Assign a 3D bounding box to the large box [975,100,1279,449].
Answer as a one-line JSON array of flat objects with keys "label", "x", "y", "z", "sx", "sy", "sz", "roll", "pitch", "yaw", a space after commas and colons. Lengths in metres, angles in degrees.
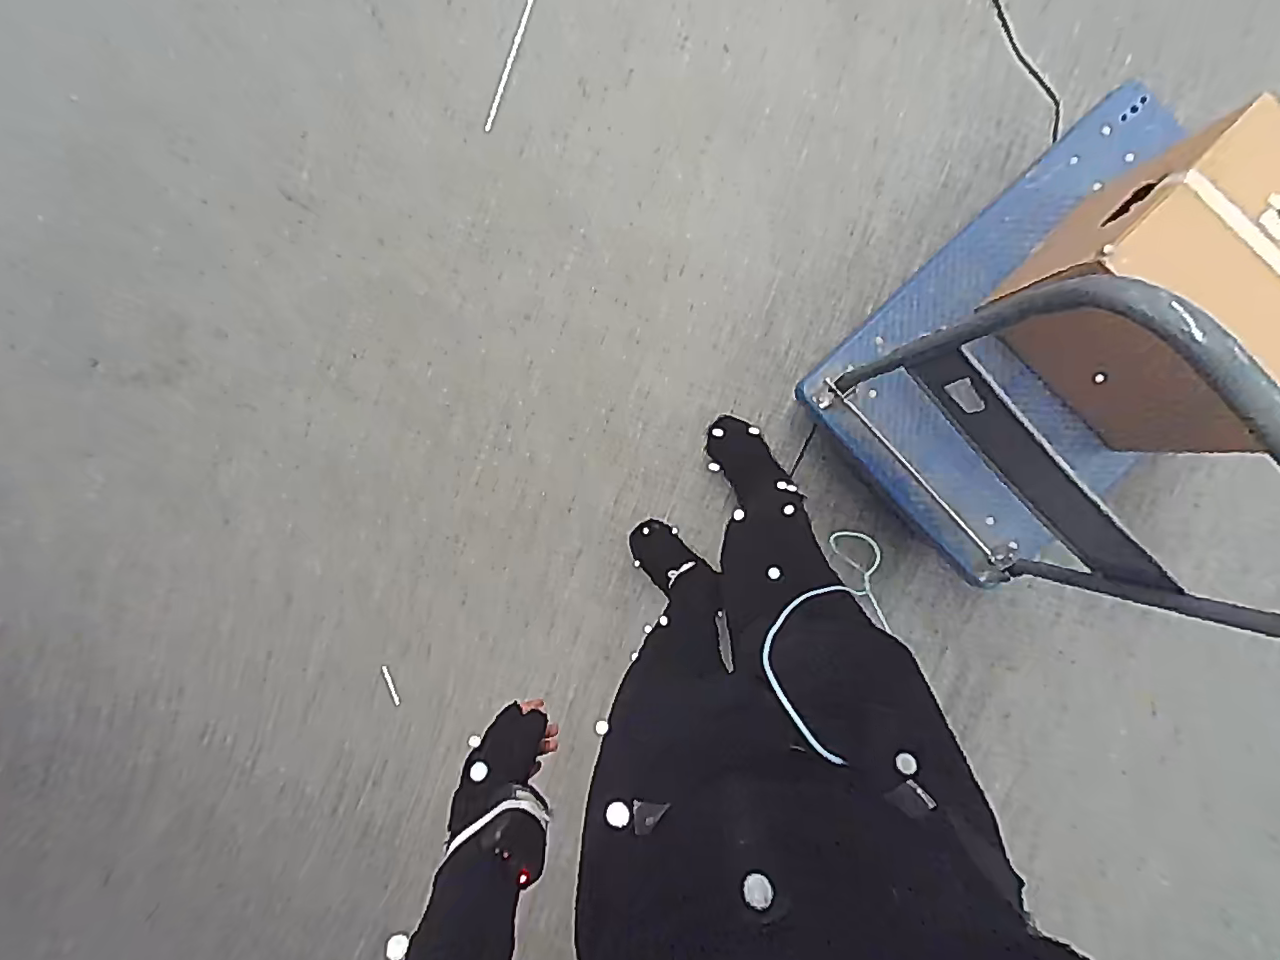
[{"label": "large box", "x": 0.893, "y": -0.294, "z": 0.908, "sx": 0.408, "sy": 0.320, "sz": 0.320, "roll": 43, "pitch": 93, "yaw": -1}]
